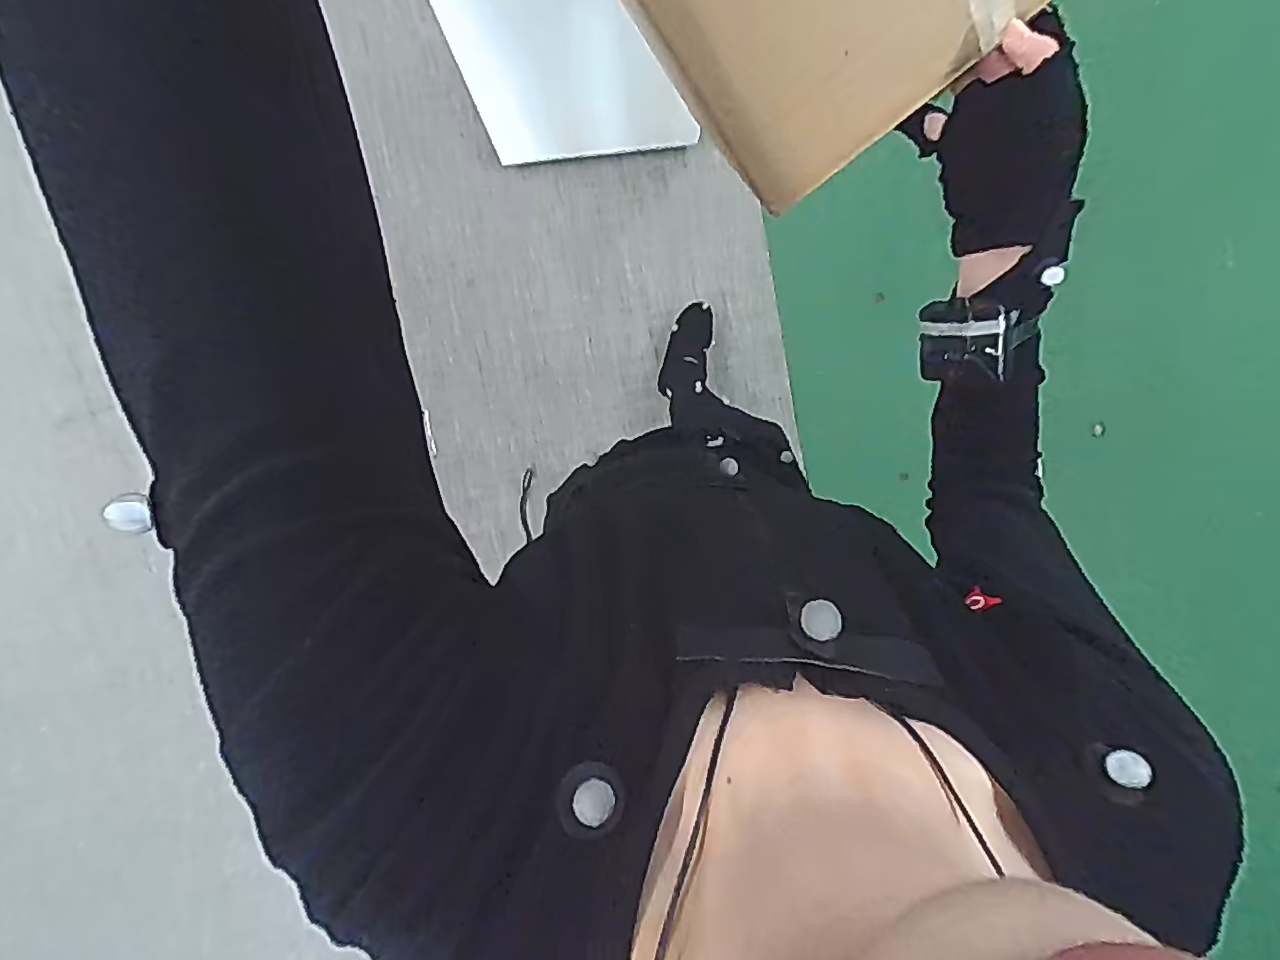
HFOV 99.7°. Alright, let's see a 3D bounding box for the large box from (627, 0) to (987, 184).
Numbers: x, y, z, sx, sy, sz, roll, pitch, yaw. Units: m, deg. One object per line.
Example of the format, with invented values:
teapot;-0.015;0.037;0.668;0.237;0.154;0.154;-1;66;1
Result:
large box;0.070;-0.489;0.333;0.320;0.320;0.408;-33;125;22
